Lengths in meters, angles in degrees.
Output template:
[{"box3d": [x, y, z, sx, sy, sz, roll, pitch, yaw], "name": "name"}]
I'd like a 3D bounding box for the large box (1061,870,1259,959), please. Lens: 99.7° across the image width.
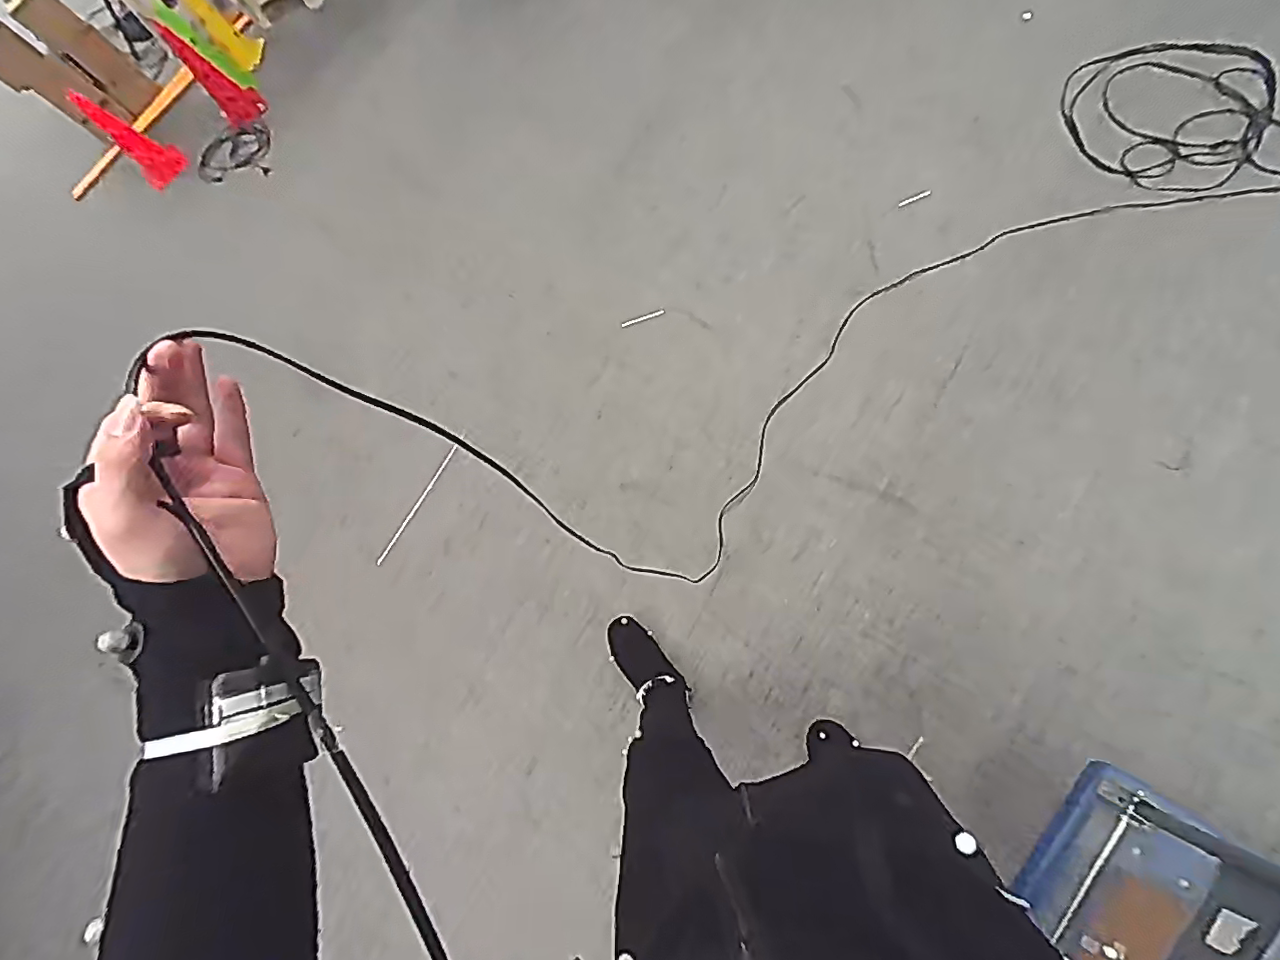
[{"box3d": [0.922, 0.906, 0.796, 0.408, 0.320, 0.320, 34, 85, 19], "name": "large box"}]
